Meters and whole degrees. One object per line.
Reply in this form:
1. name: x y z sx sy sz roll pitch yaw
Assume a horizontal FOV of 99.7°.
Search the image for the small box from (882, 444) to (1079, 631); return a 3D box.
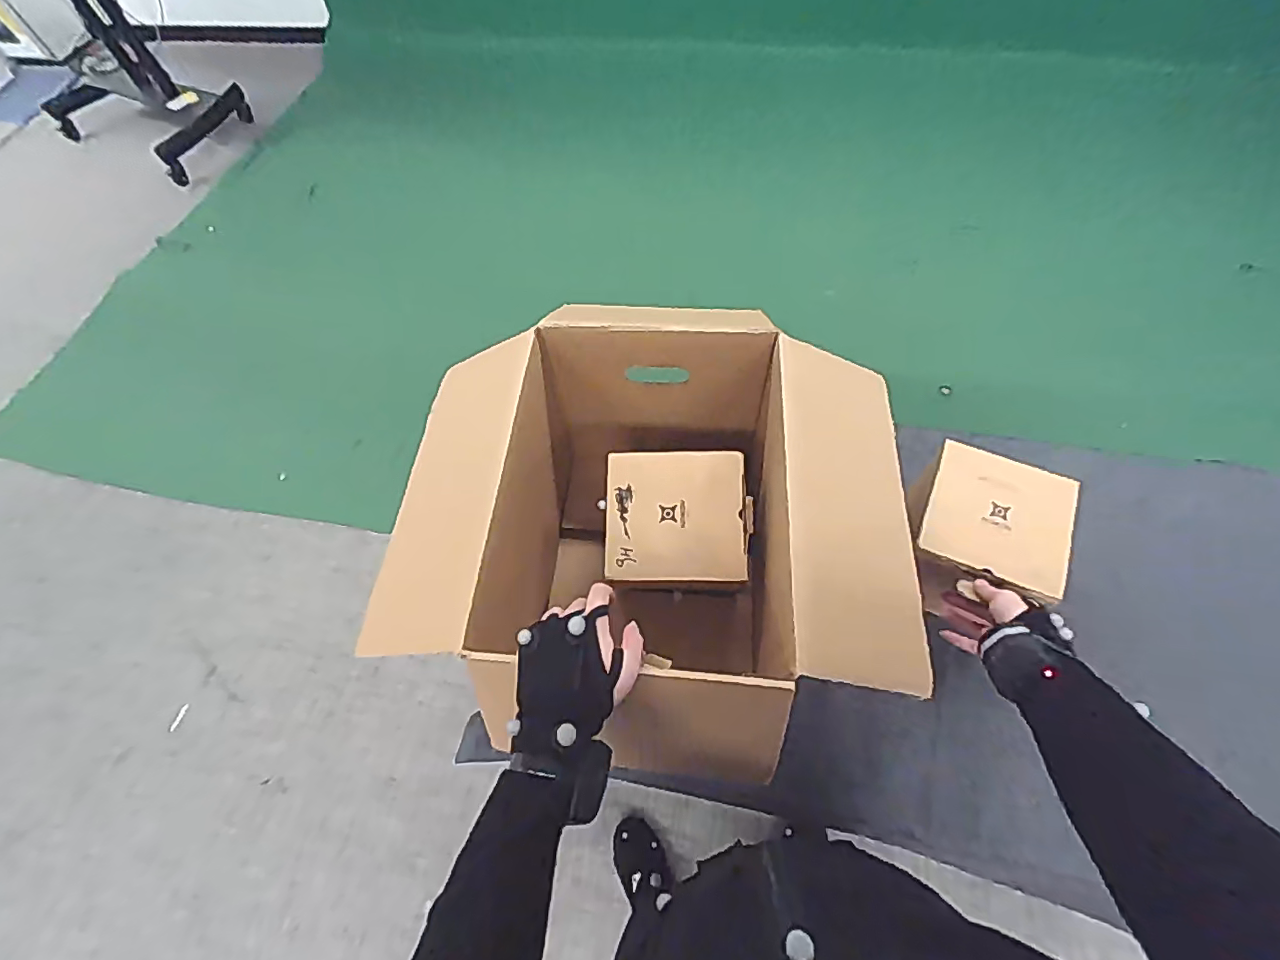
1. small box: 0.458 0.086 0.751 0.168 0.176 0.179 22 64 14
